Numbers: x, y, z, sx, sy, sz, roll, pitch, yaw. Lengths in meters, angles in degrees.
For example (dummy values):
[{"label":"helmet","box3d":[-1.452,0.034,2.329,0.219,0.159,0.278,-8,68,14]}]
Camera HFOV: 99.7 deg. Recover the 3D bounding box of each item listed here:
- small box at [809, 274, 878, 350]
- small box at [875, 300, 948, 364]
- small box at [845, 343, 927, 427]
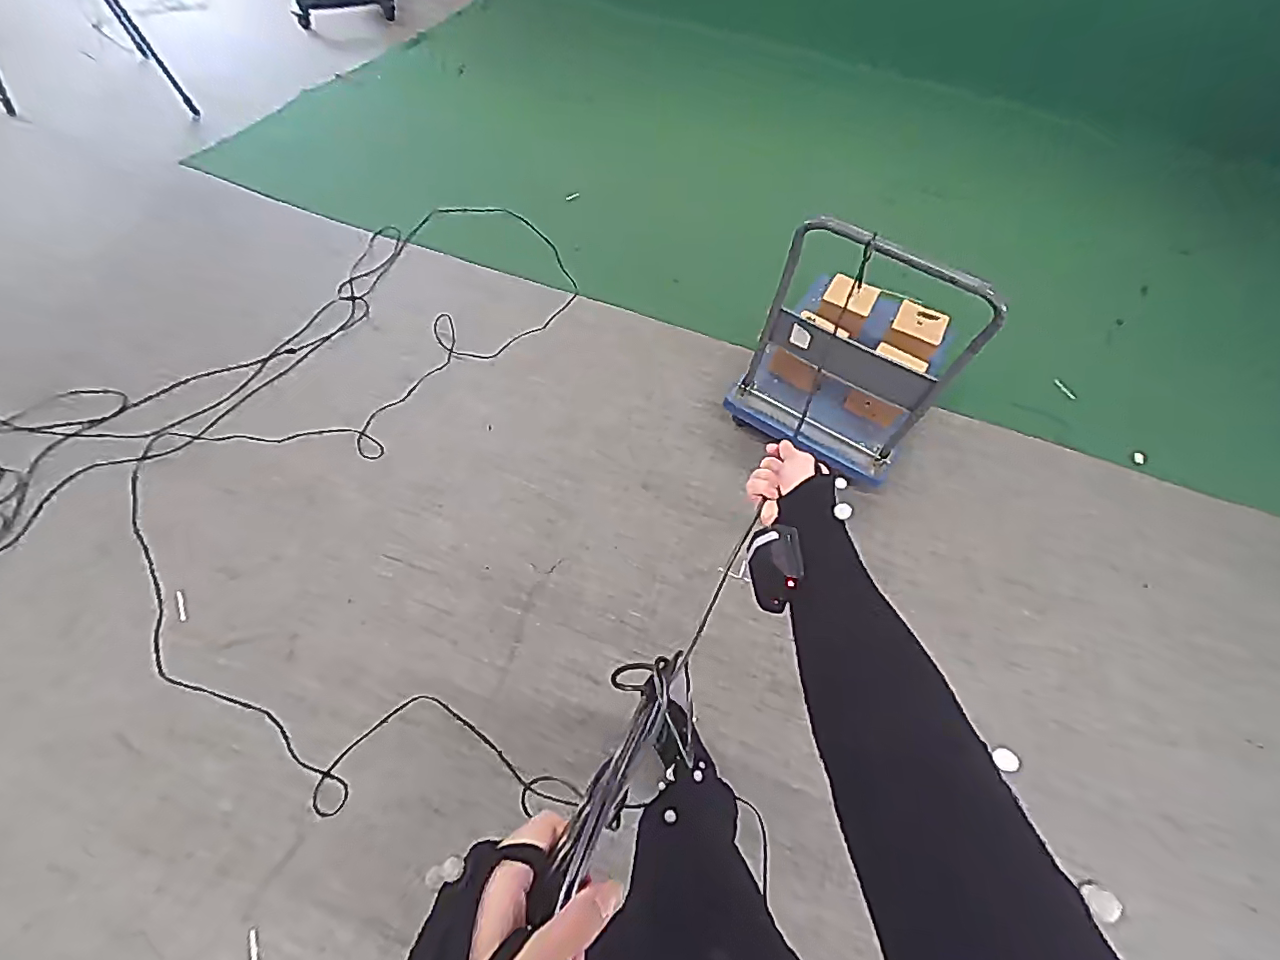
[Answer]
[{"label":"small box","box3d":[0.737,-0.610,1.976,0.168,0.176,0.179,28,59,12]},{"label":"small box","box3d":[0.956,-0.498,1.923,0.168,0.176,0.179,27,60,13]},{"label":"small box","box3d":[0.807,-0.313,1.792,0.168,0.176,0.179,32,60,15]}]
